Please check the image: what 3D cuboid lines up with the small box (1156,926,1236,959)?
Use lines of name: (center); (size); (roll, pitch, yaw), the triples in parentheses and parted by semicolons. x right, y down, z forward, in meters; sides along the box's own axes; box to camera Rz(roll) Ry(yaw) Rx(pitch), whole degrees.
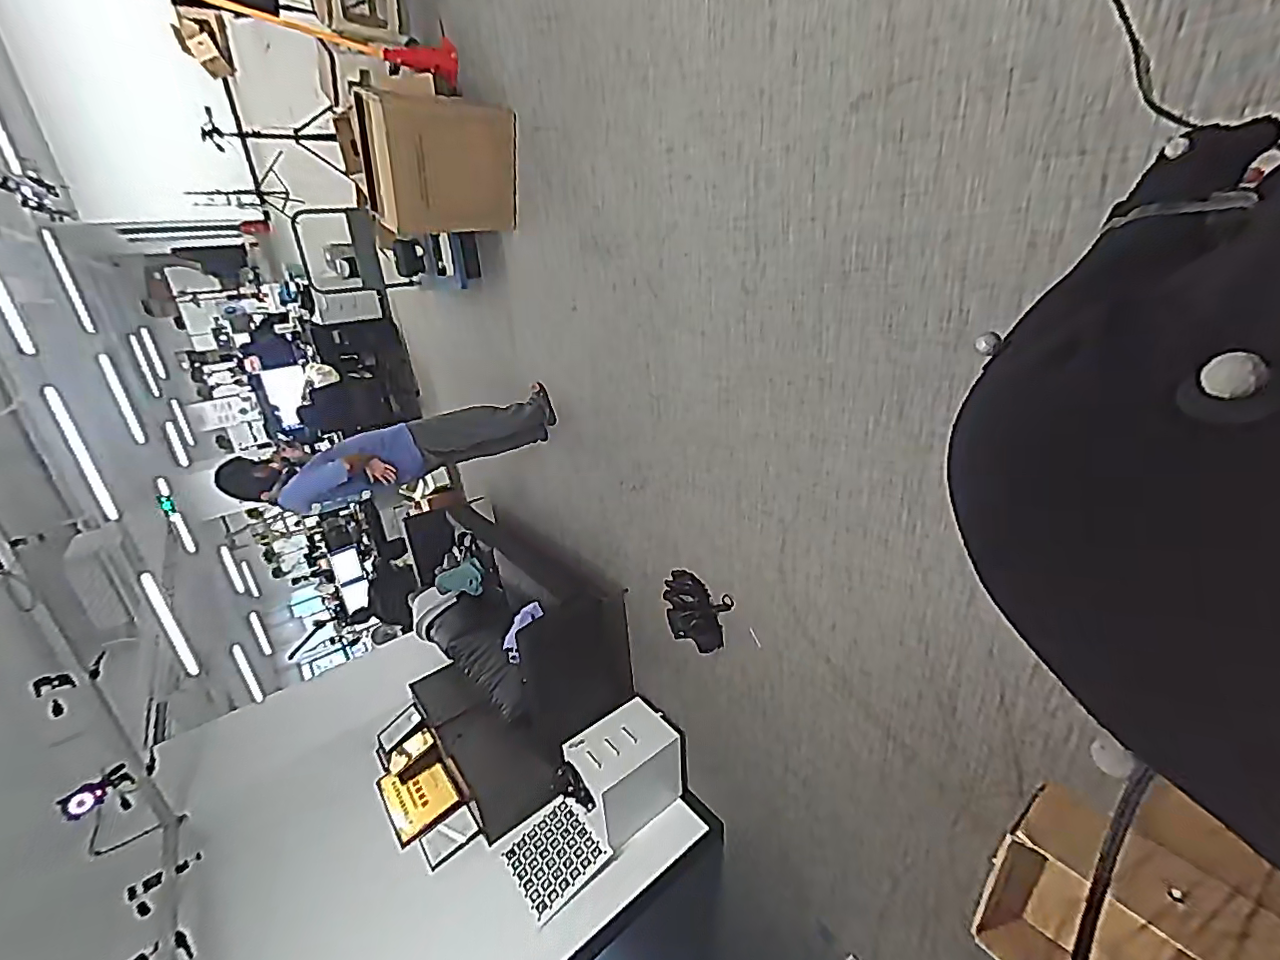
small box: (1.008, 0.951, 0.949); (0.168, 0.176, 0.179); (28, 132, 49)
